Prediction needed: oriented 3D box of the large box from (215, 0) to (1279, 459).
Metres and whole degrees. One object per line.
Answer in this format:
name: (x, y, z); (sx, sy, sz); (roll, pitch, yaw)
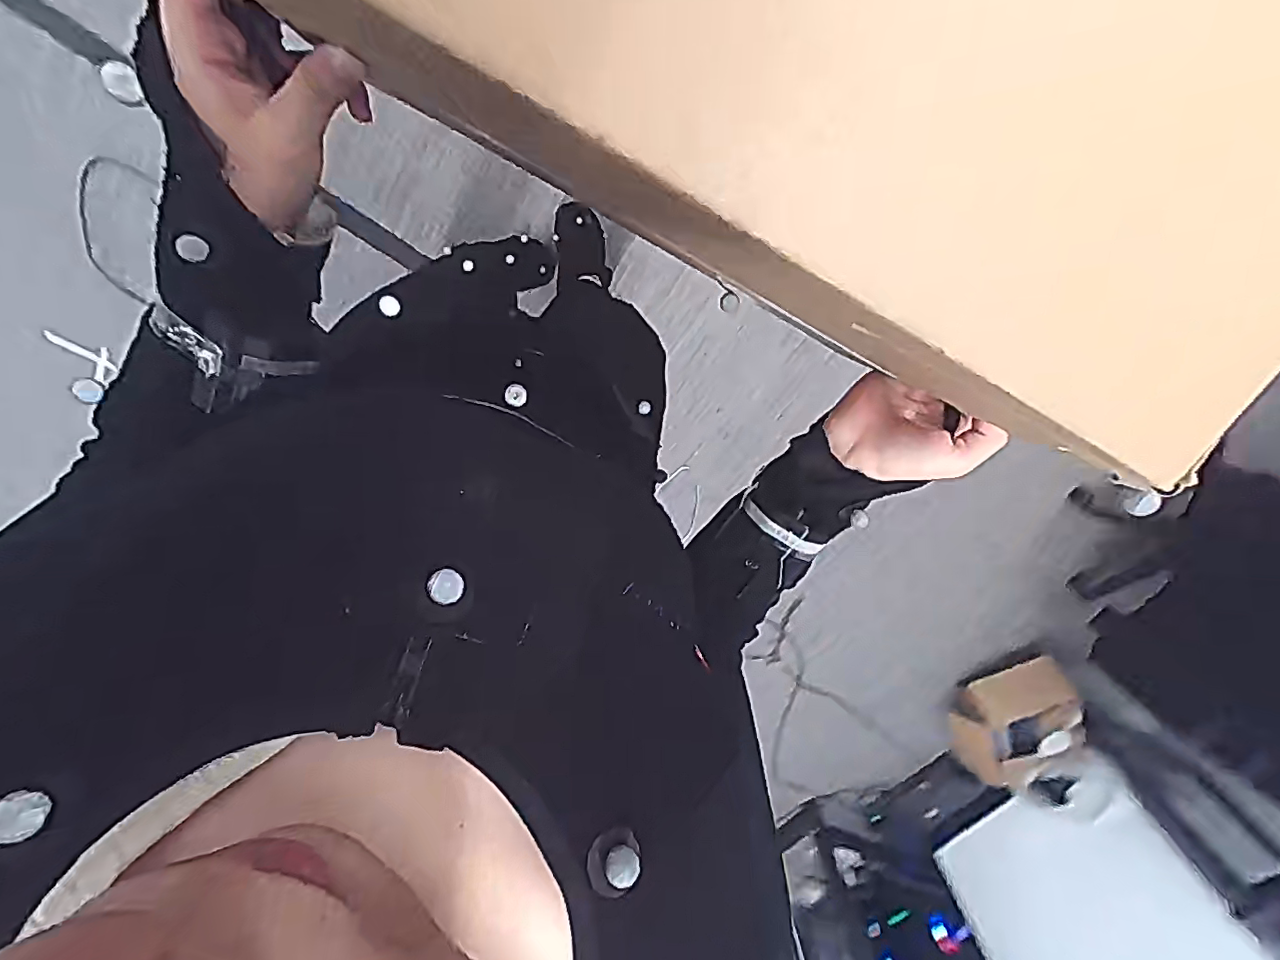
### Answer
large box: (0.066, -0.264, 0.233); (0.408, 0.320, 0.320); (21, 112, -16)
